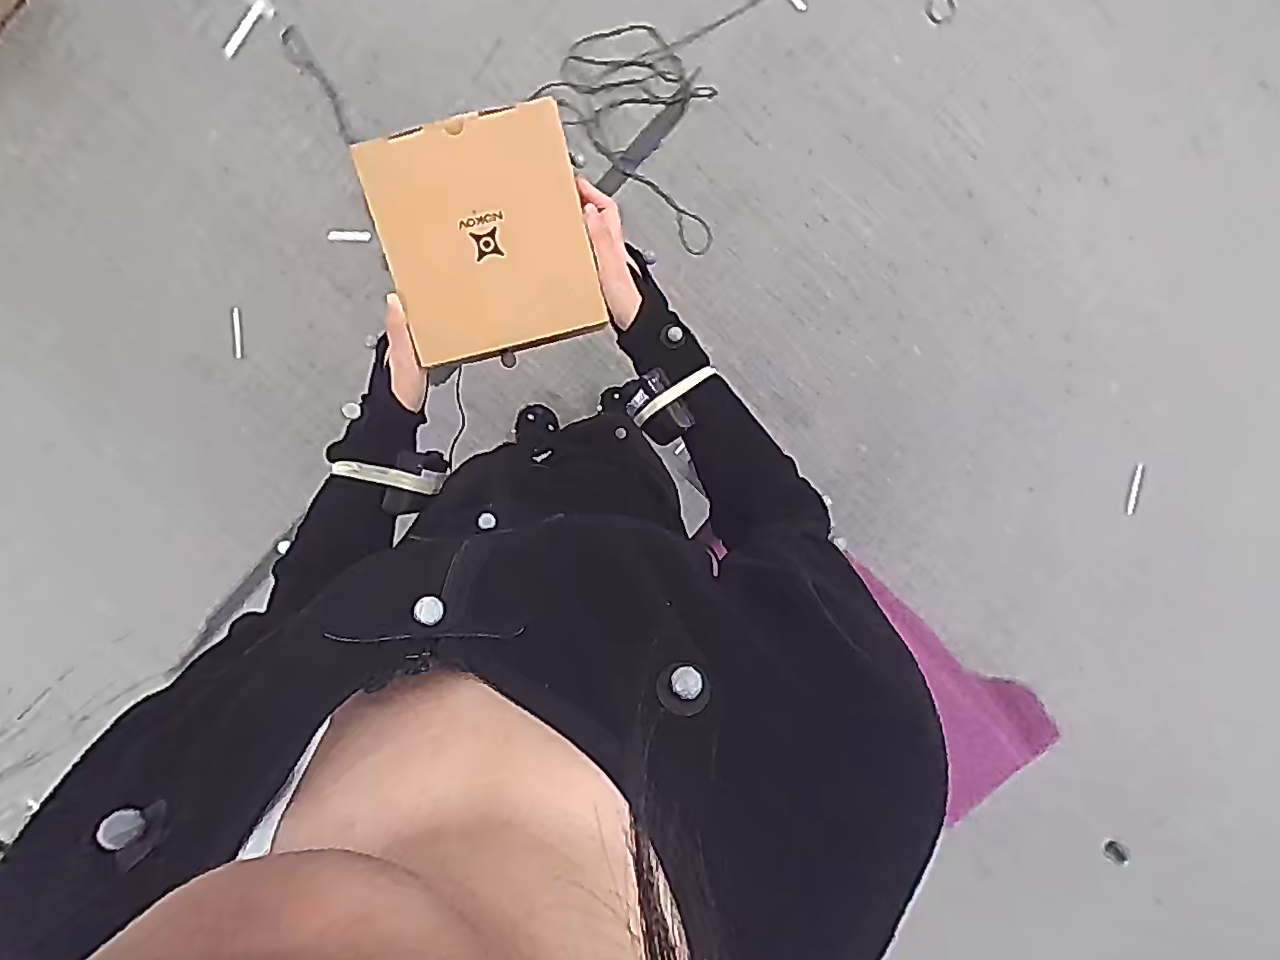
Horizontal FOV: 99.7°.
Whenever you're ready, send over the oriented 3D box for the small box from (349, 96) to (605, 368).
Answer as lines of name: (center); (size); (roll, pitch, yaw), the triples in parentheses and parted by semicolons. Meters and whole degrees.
small box: (-0.131, -0.213, 0.512); (0.168, 0.176, 0.179); (-15, 103, -1)
